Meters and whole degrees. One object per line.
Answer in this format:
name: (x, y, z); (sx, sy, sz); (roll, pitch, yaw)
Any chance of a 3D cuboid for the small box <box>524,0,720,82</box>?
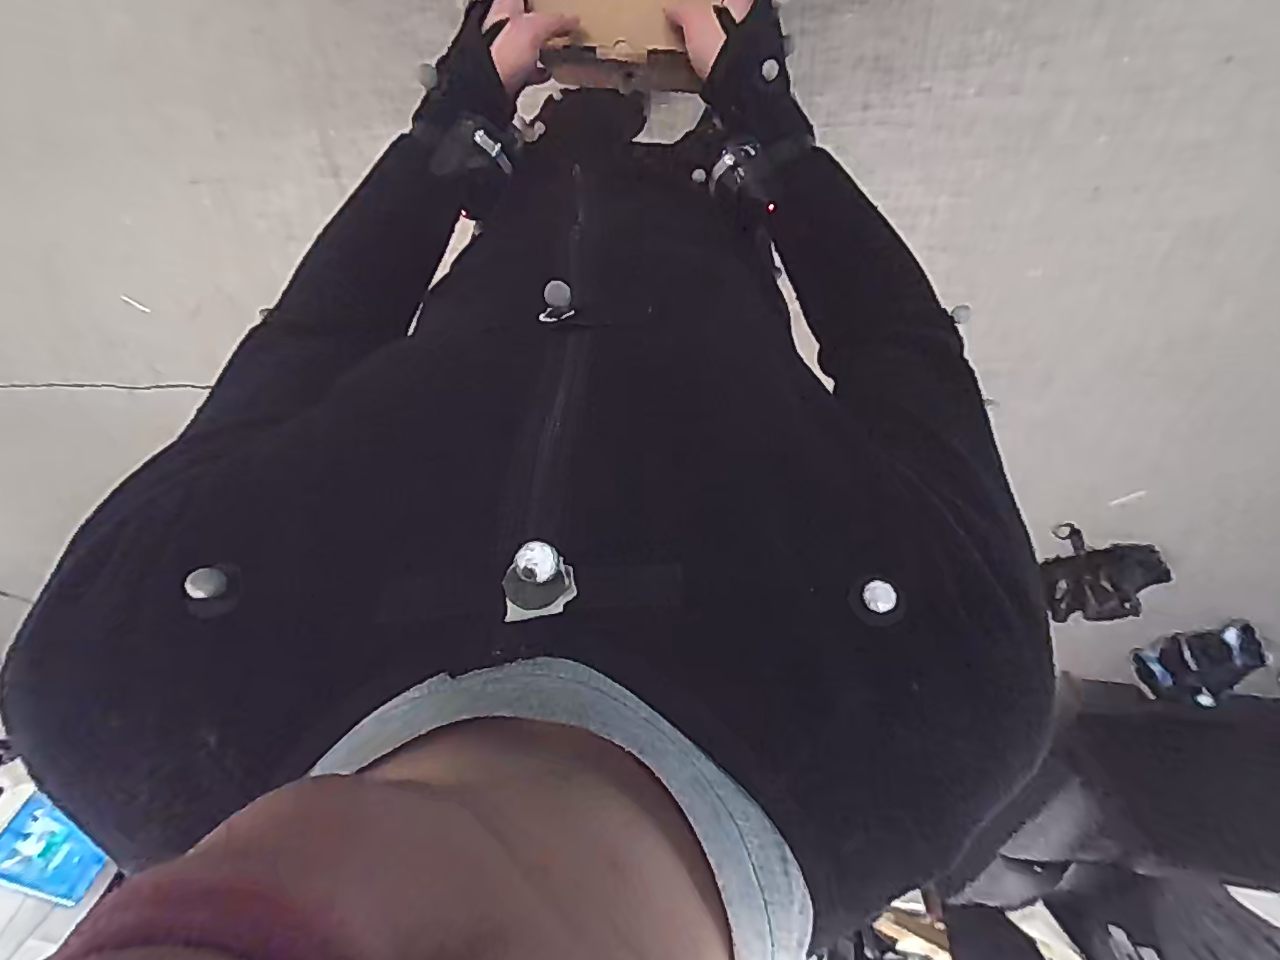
small box: (-0.008, -0.477, 0.486); (0.168, 0.176, 0.179); (3, 118, 1)
